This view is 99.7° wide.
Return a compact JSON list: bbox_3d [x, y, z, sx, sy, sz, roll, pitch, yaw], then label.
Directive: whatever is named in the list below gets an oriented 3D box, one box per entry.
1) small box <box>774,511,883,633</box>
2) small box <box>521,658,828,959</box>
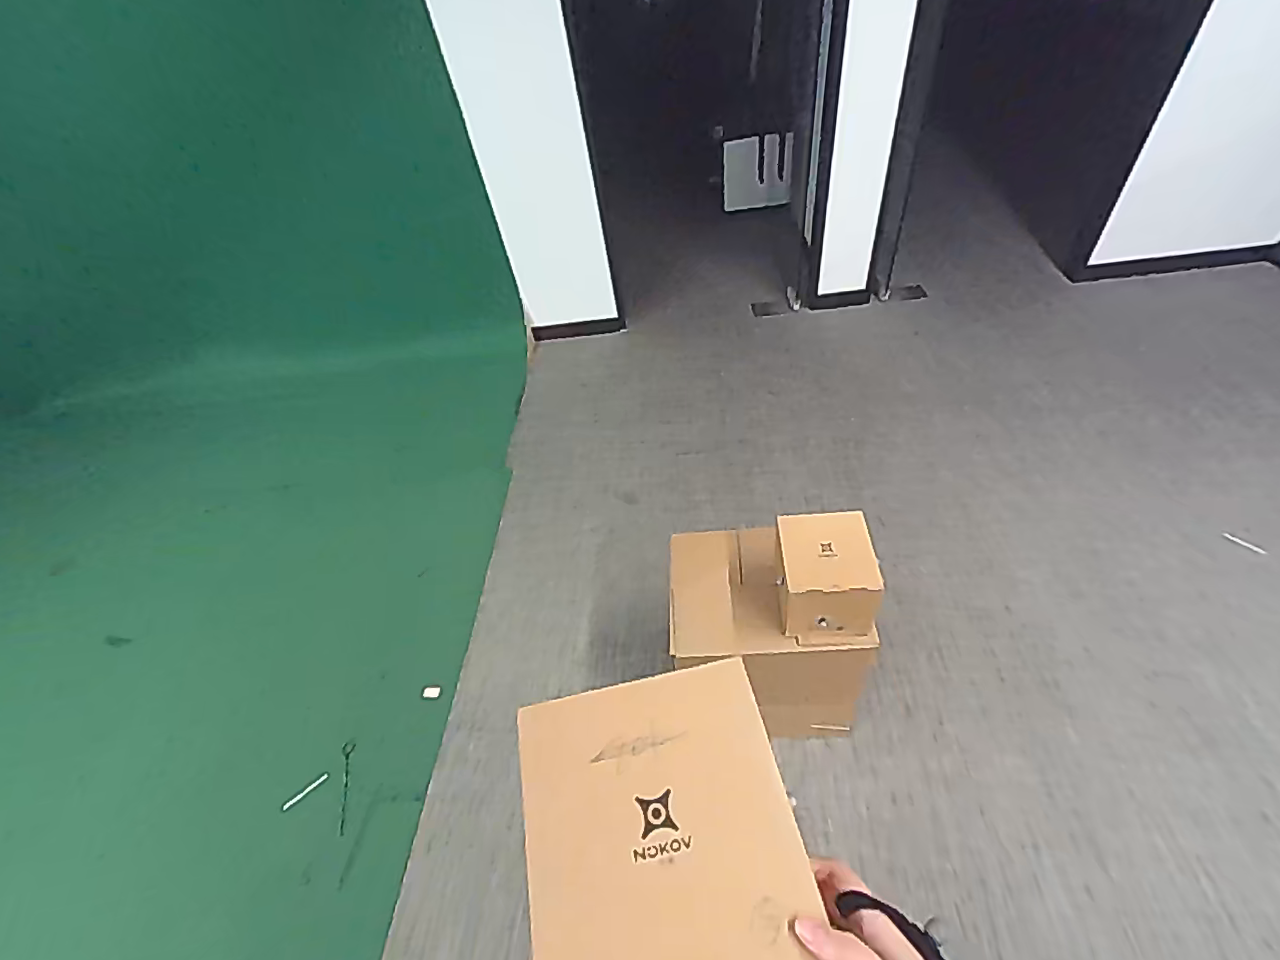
[{"bbox_3d":[0.358,0.182,1.064,0.168,0.176,0.179,-3,48,8],"label":"small box"},{"bbox_3d":[0.014,0.258,0.401,0.168,0.176,0.179,-10,53,-5],"label":"small box"}]
